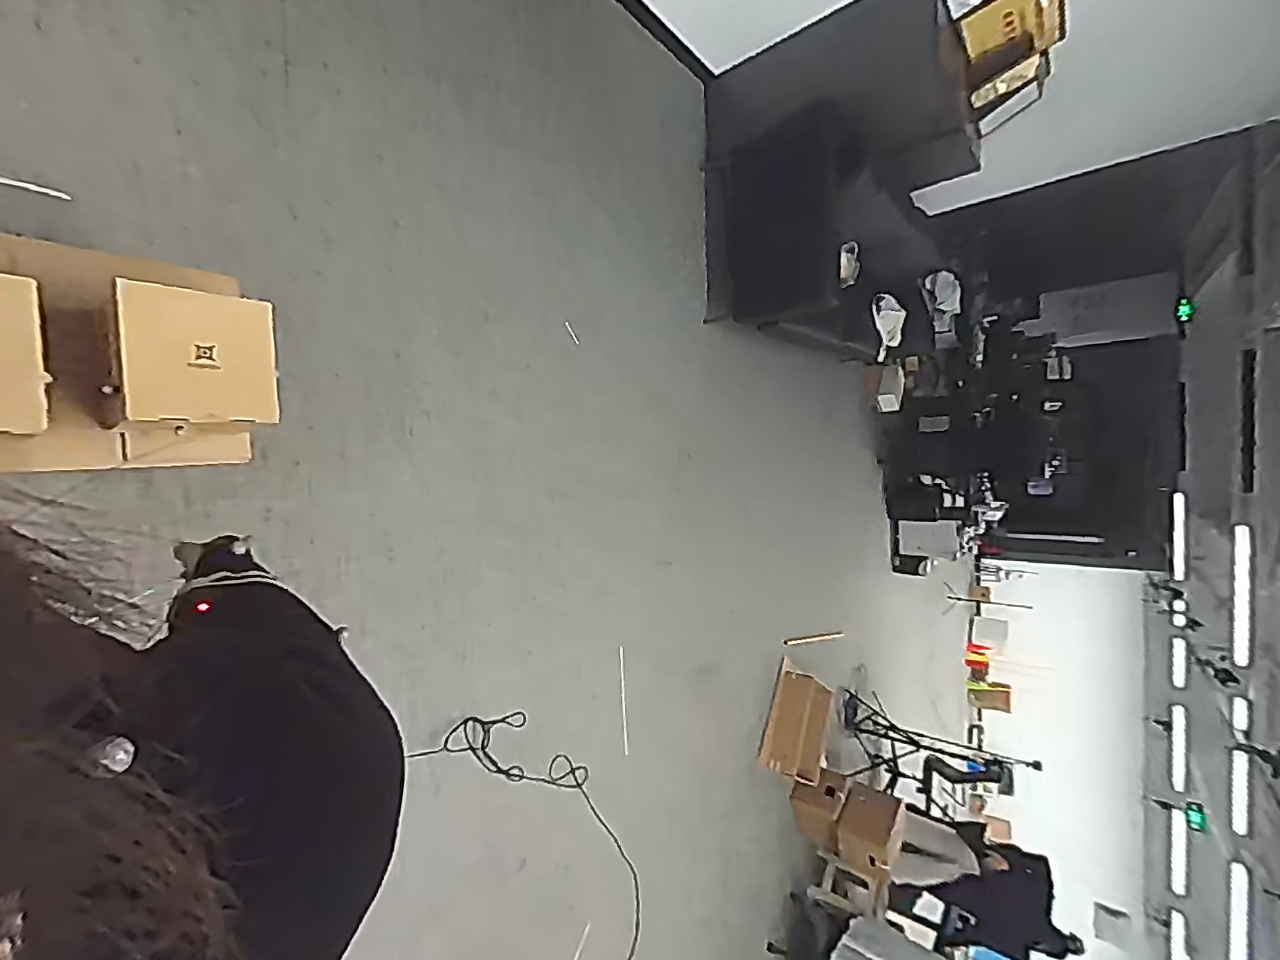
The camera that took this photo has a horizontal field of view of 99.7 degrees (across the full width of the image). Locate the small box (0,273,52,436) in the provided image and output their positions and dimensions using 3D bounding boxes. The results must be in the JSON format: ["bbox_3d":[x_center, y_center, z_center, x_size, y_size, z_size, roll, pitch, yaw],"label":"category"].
[{"bbox_3d":[-0.783,-0.138,0.598,0.168,0.176,0.179,-6,96,-52],"label":"small box"}]

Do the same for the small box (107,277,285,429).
[{"bbox_3d":[-0.638,-0.168,0.777,0.168,0.176,0.179,-6,95,-50],"label":"small box"}]
